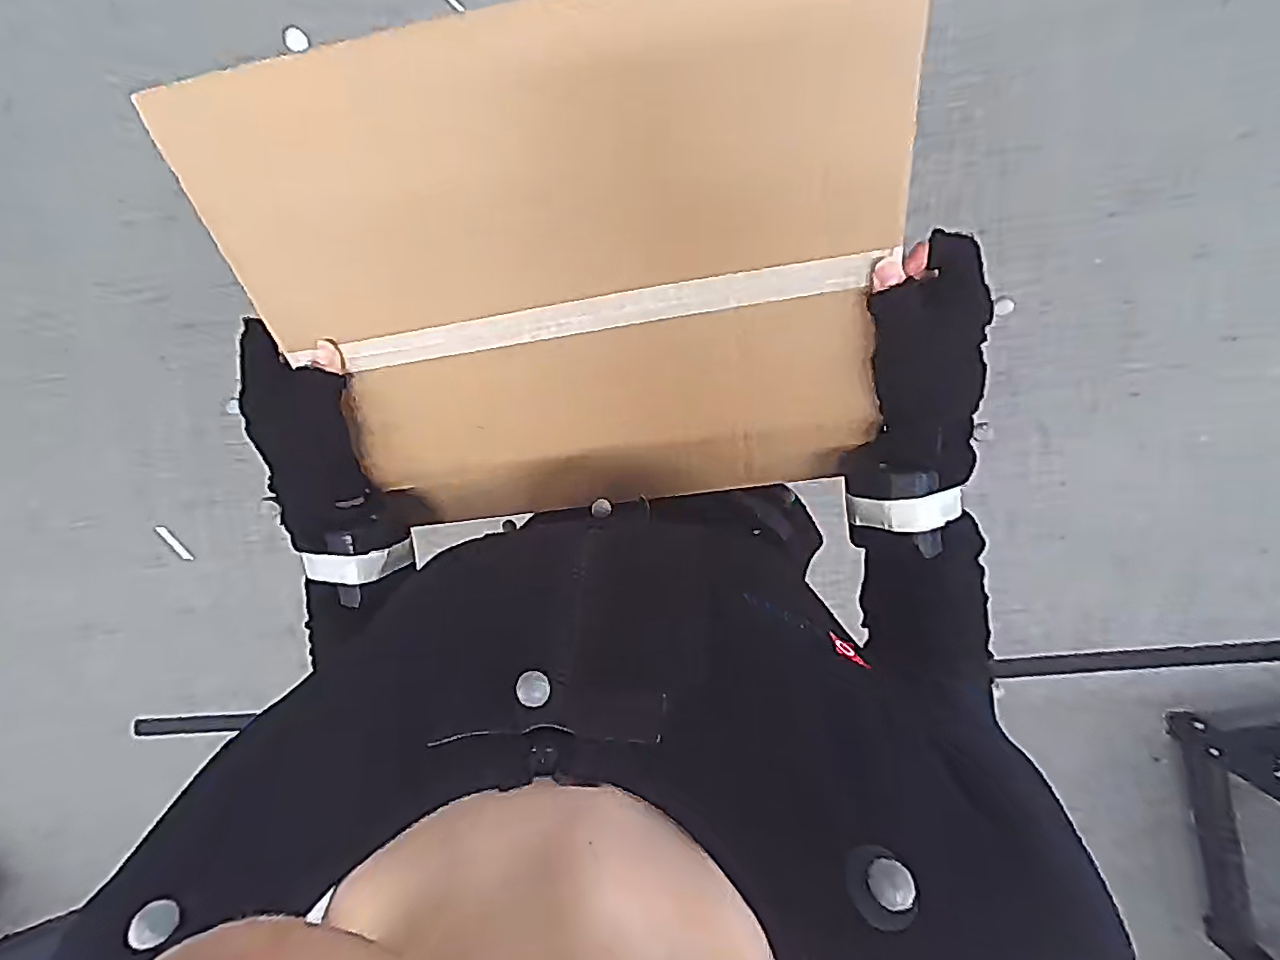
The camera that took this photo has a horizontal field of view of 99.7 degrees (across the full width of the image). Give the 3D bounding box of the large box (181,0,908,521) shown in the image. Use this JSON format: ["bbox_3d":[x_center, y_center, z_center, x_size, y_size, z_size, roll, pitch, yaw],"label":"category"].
[{"bbox_3d":[-0.038,-0.199,0.482,0.408,0.320,0.320,-7,127,7],"label":"large box"}]
